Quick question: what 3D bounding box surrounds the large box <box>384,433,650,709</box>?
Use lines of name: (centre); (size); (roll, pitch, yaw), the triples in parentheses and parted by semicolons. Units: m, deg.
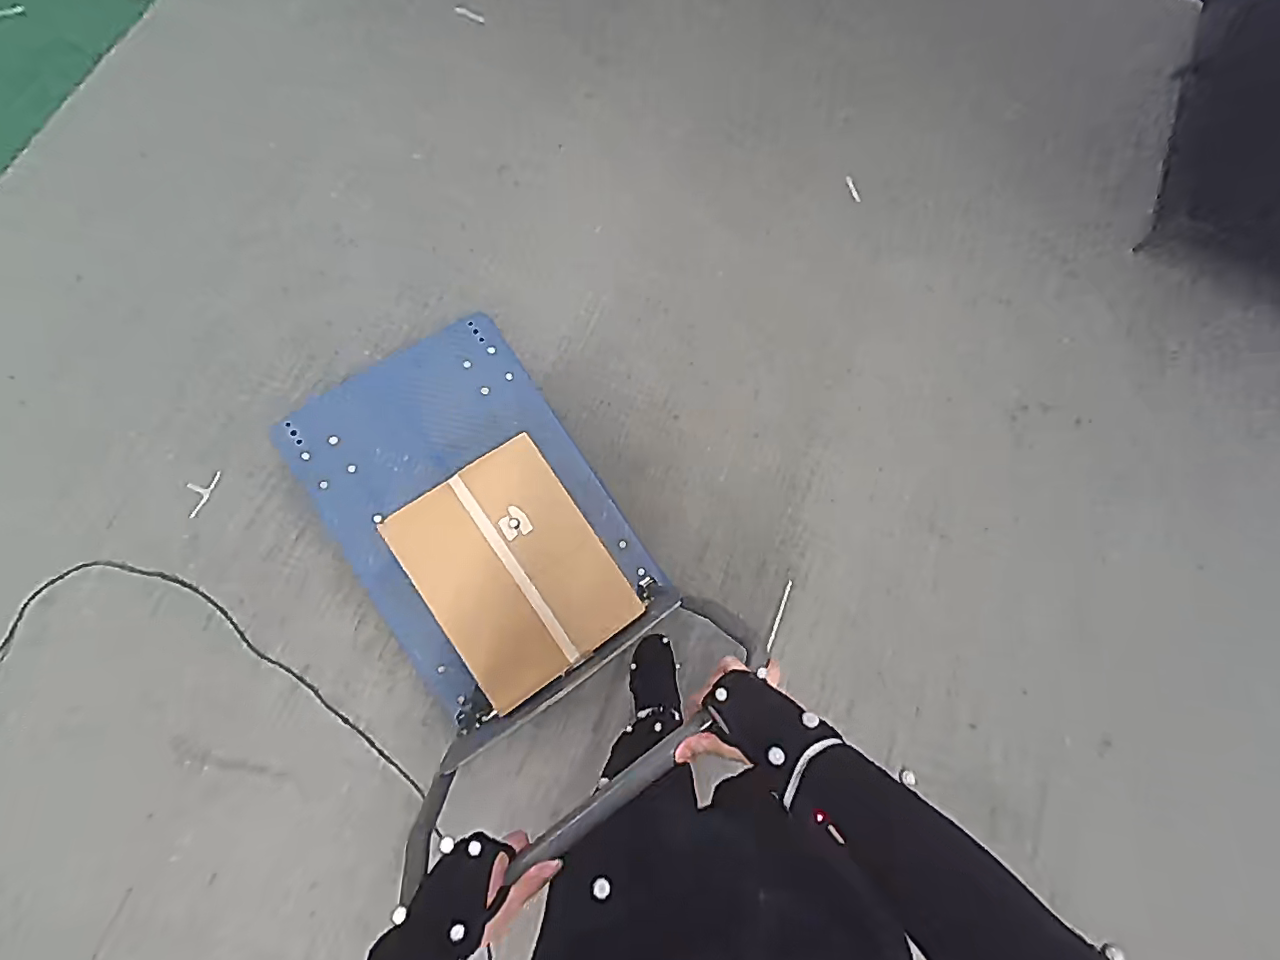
large box: (-0.231, 0.178, 1.111); (0.320, 0.320, 0.408); (-35, 85, -12)
